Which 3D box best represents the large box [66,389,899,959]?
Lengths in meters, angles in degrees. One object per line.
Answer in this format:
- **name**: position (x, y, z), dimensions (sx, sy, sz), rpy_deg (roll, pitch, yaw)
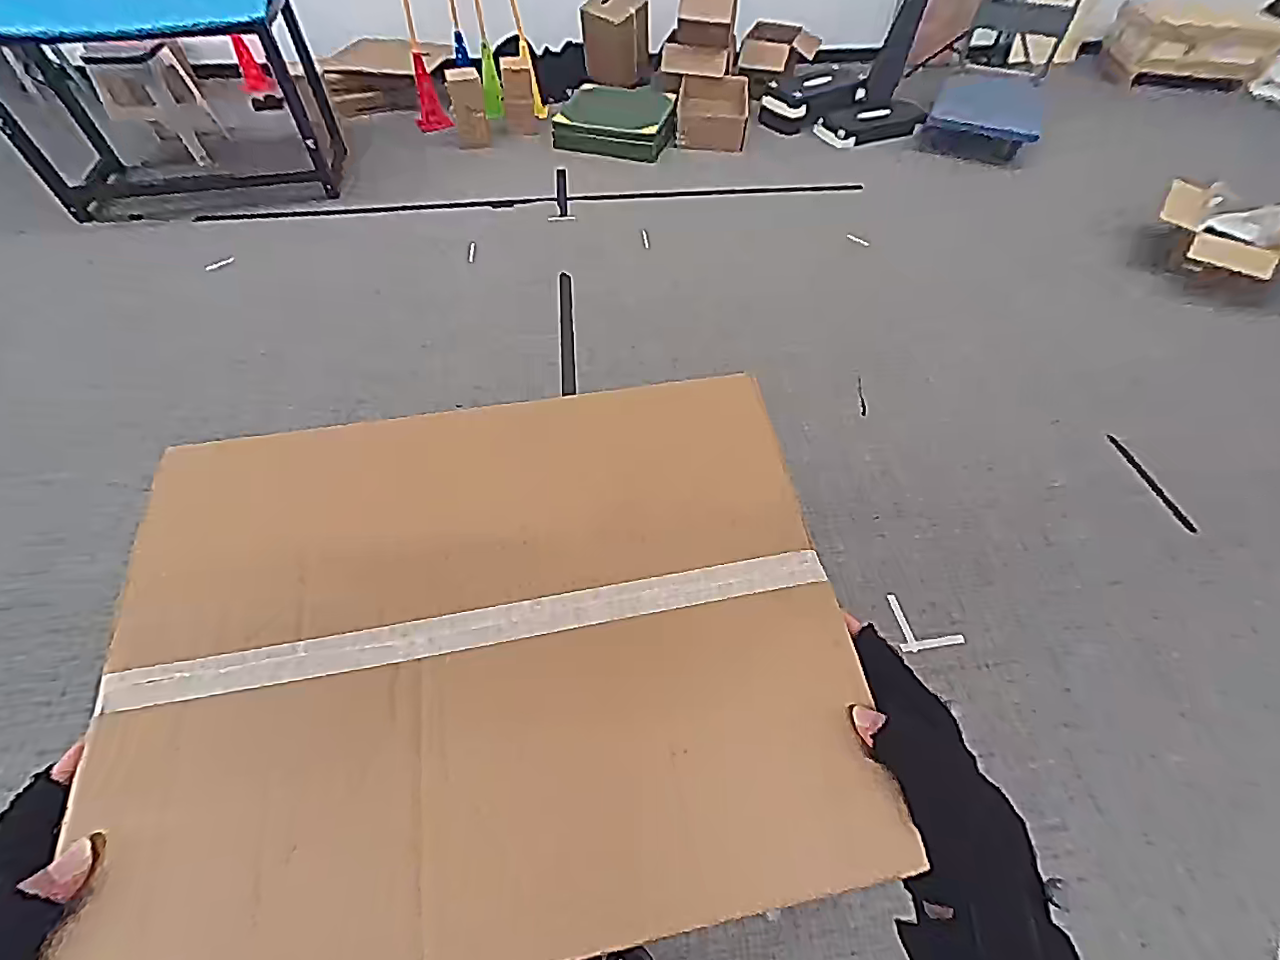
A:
- **large box**: position (-0.091, 0.163, 0.450), dimensions (0.408, 0.320, 0.320), rpy_deg (-9, 62, -6)
